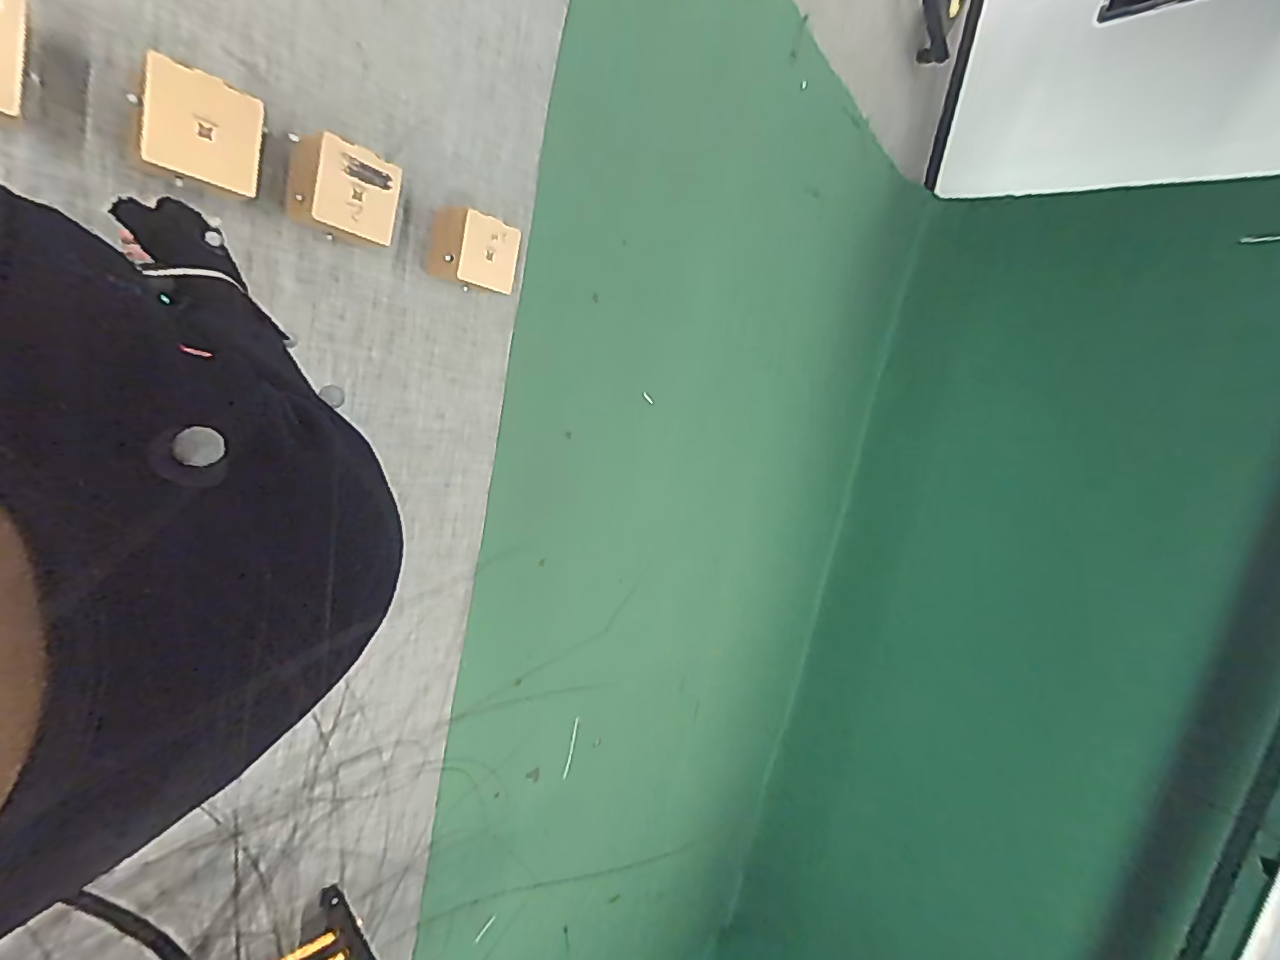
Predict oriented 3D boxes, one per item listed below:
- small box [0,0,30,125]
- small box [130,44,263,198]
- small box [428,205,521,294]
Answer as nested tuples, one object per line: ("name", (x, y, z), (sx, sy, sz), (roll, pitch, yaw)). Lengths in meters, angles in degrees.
("small box", (-1.023, -0.659, 0.788), (0.168, 0.176, 0.179), (5, 102, -49))
("small box", (-0.832, -0.652, 1.012), (0.168, 0.176, 0.179), (2, 103, -49))
("small box", (-0.452, -0.618, 1.462), (0.168, 0.176, 0.179), (2, 104, -50))
